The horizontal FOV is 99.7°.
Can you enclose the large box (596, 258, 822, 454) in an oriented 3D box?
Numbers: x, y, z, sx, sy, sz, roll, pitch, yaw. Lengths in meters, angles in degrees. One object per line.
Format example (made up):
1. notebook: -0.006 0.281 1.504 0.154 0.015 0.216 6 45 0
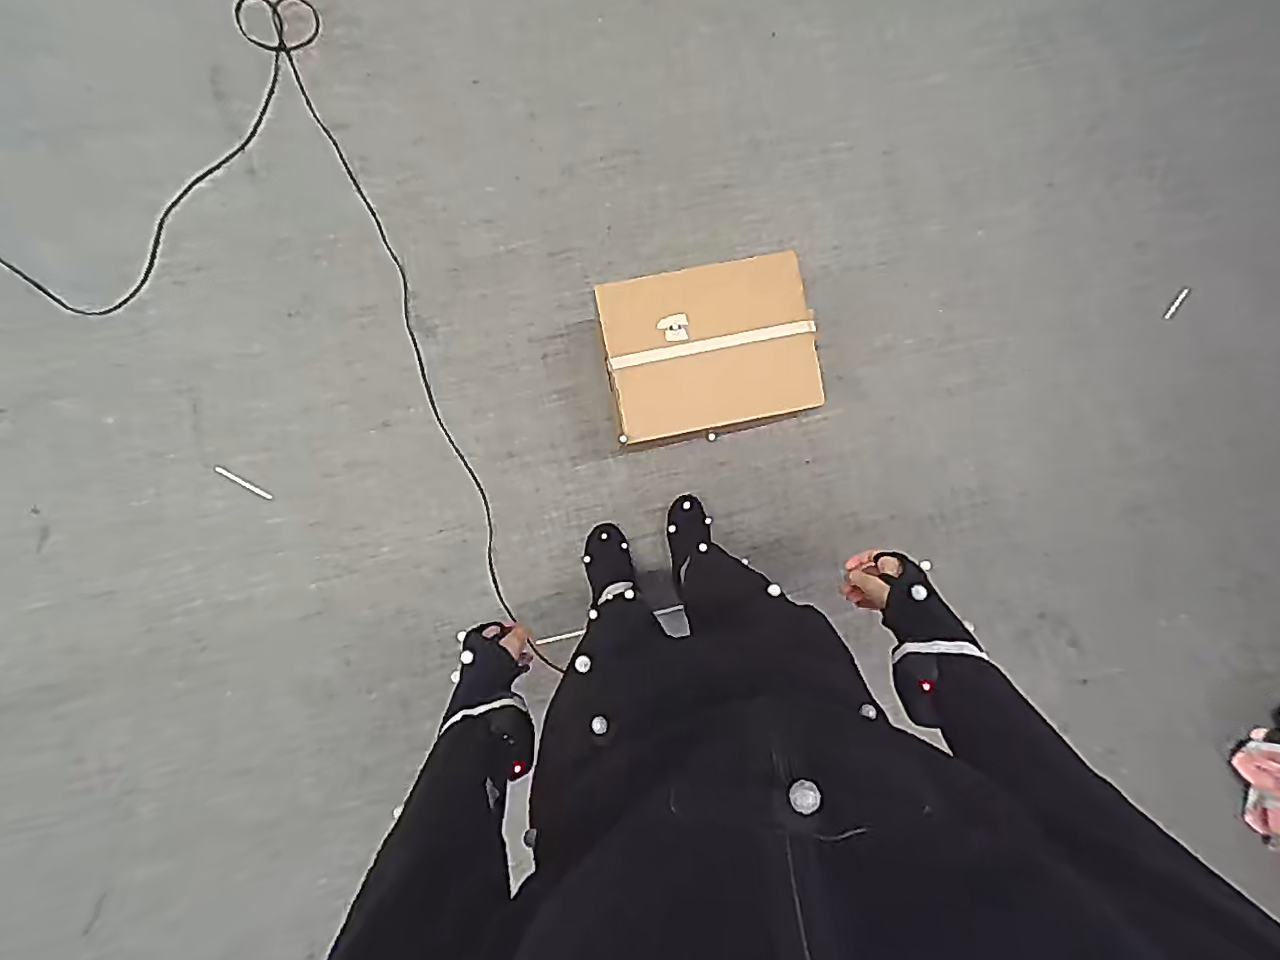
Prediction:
1. large box: 0.132 -0.251 1.209 0.408 0.320 0.320 -12 90 -3
